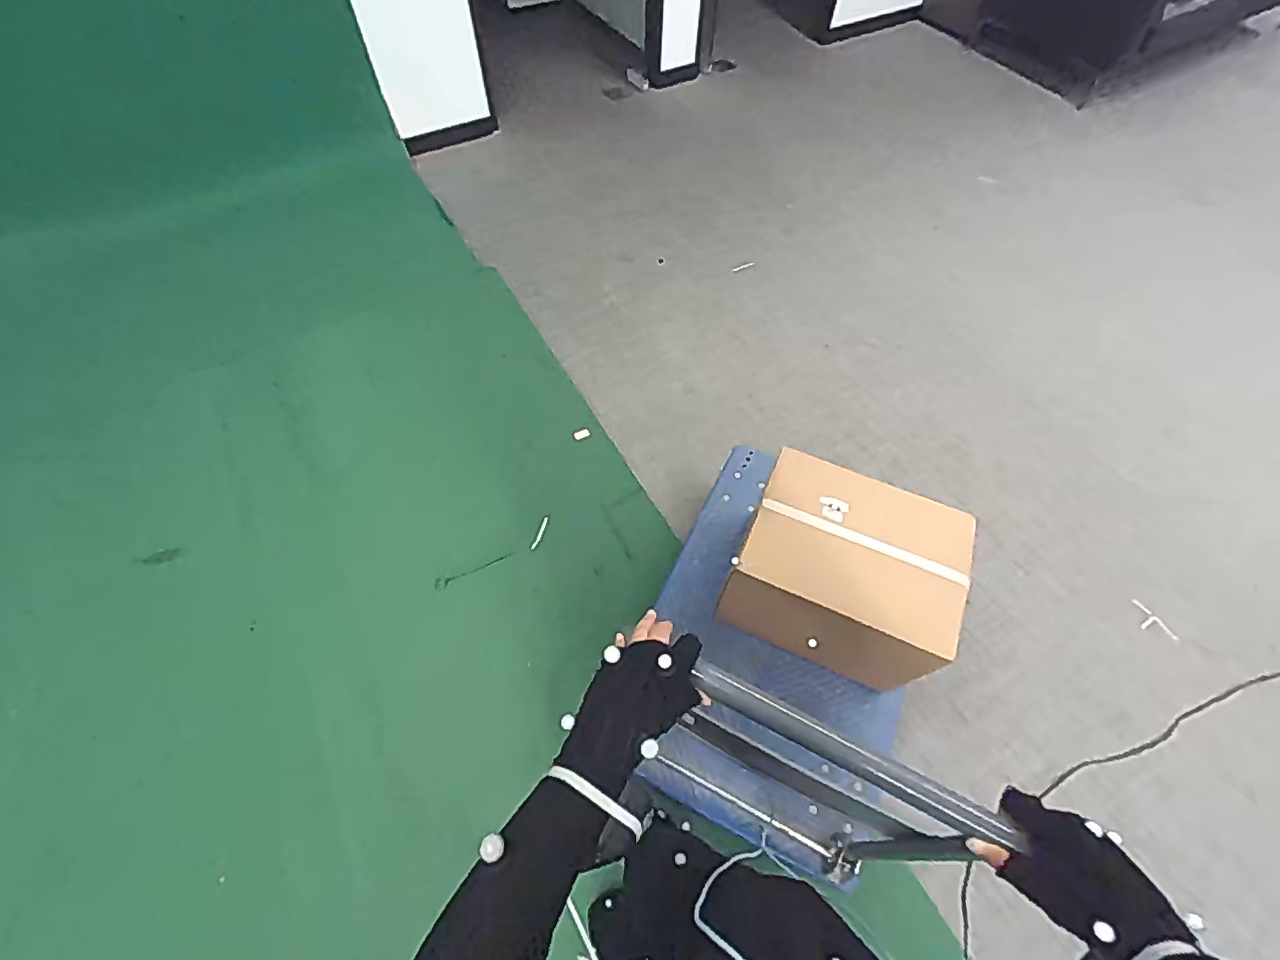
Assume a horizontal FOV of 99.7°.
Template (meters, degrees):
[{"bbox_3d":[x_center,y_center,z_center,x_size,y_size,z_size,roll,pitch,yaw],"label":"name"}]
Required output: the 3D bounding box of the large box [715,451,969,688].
[{"bbox_3d":[0.414,0.200,1.170,0.408,0.320,0.320,22,61,13],"label":"large box"}]
